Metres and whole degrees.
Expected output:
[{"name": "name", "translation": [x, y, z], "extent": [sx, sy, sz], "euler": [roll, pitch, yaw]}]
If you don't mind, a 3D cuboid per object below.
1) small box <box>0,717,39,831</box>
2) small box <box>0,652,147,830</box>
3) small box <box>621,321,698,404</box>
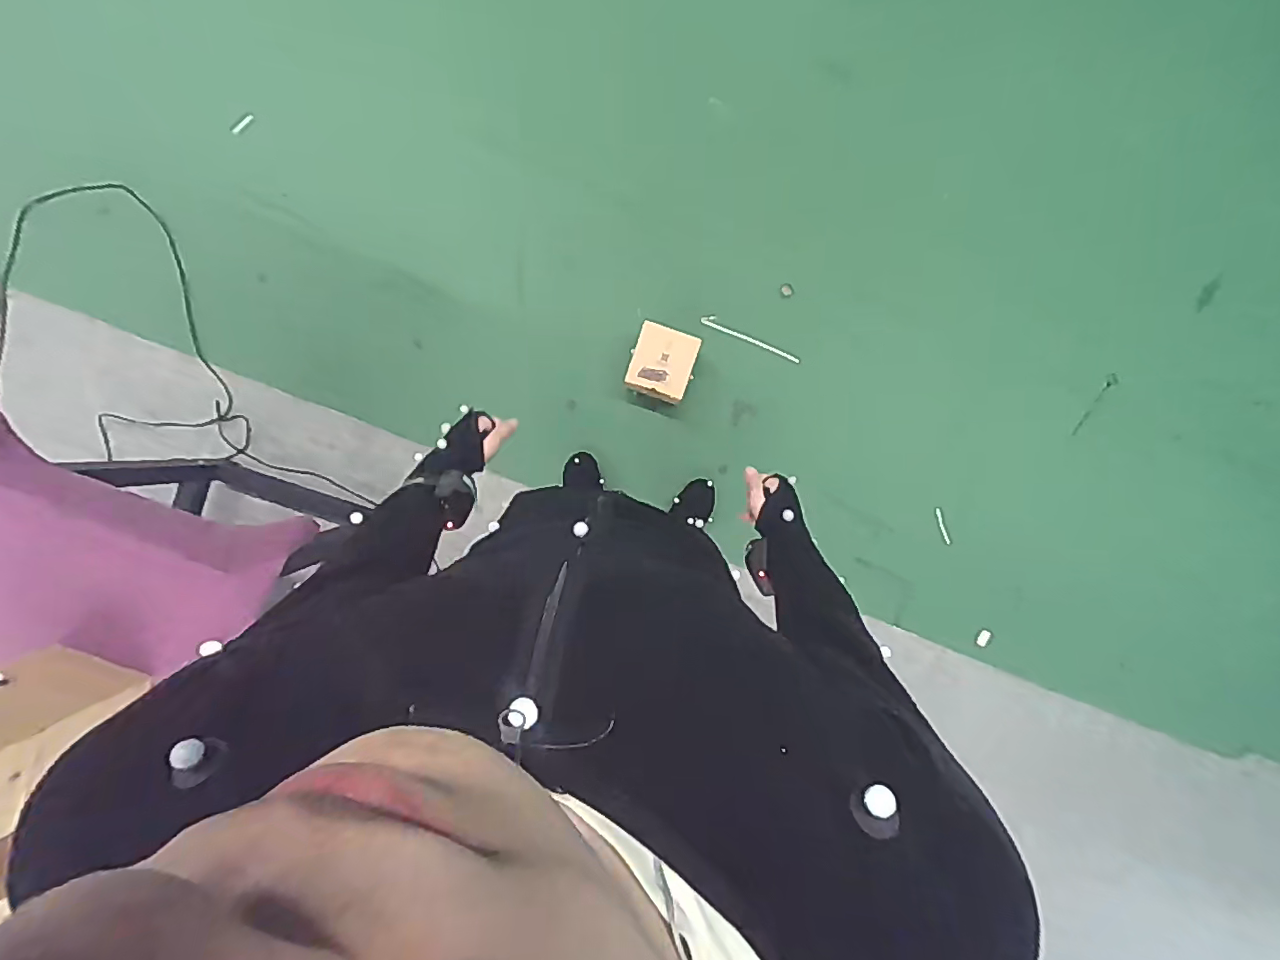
[{"name": "small box", "translation": [-0.949, 0.401, 0.682], "extent": [0.179, 0.176, 0.168], "euler": [20, 93, -1]}, {"name": "small box", "translation": [-0.945, 0.391, 0.844], "extent": [0.179, 0.176, 0.168], "euler": [20, 94, -1]}, {"name": "small box", "translation": [0.054, -0.324, 1.537], "extent": [0.168, 0.176, 0.179], "euler": [19, 92, -2]}]
